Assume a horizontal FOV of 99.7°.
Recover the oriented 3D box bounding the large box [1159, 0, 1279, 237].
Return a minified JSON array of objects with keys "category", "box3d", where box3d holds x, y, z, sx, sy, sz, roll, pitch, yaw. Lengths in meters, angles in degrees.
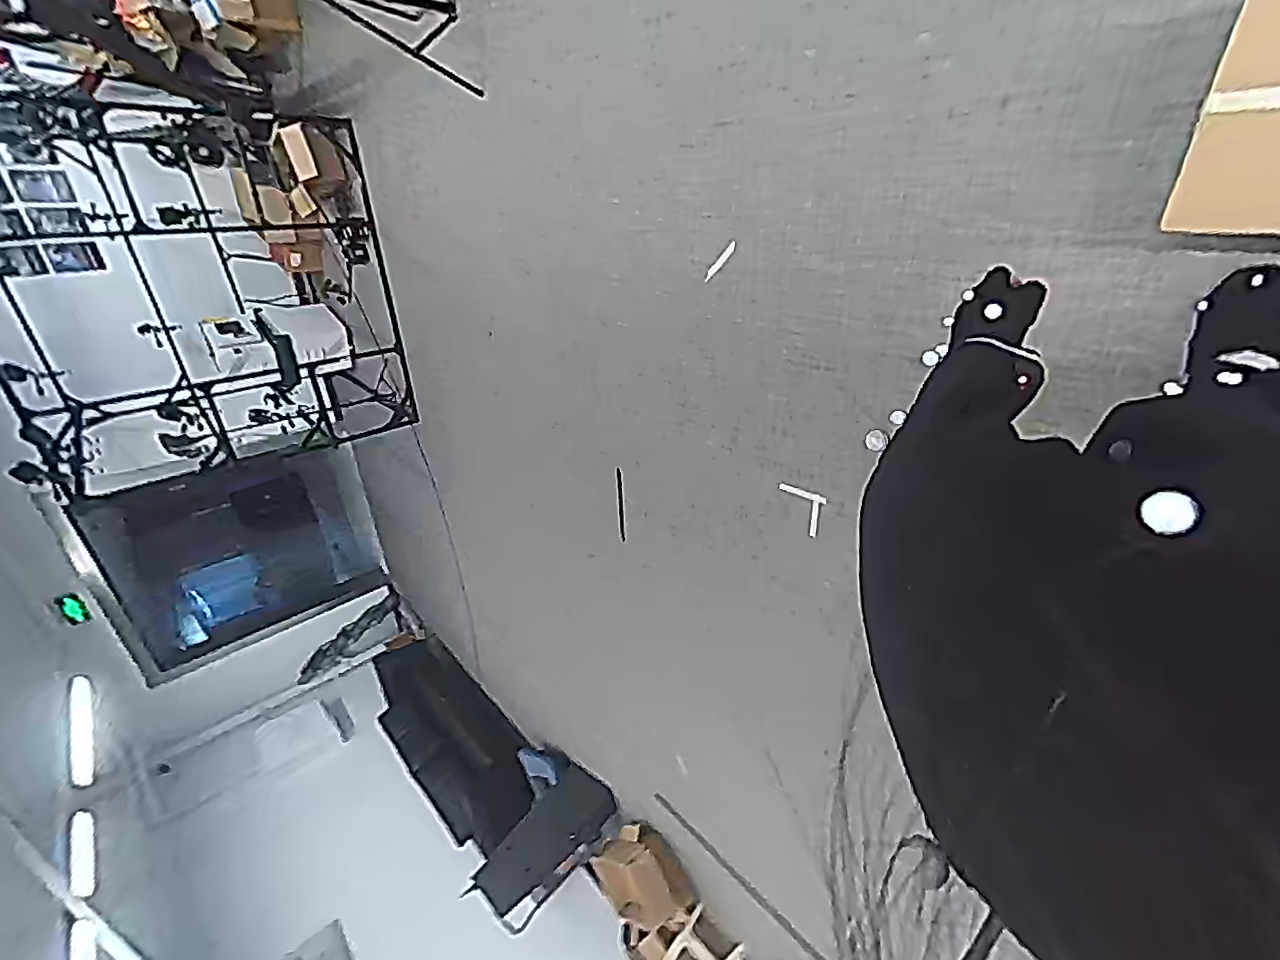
[{"category":"large box","box3d":[0.994,-0.484,0.686,0.408,0.320,0.320,25,127,40]}]
